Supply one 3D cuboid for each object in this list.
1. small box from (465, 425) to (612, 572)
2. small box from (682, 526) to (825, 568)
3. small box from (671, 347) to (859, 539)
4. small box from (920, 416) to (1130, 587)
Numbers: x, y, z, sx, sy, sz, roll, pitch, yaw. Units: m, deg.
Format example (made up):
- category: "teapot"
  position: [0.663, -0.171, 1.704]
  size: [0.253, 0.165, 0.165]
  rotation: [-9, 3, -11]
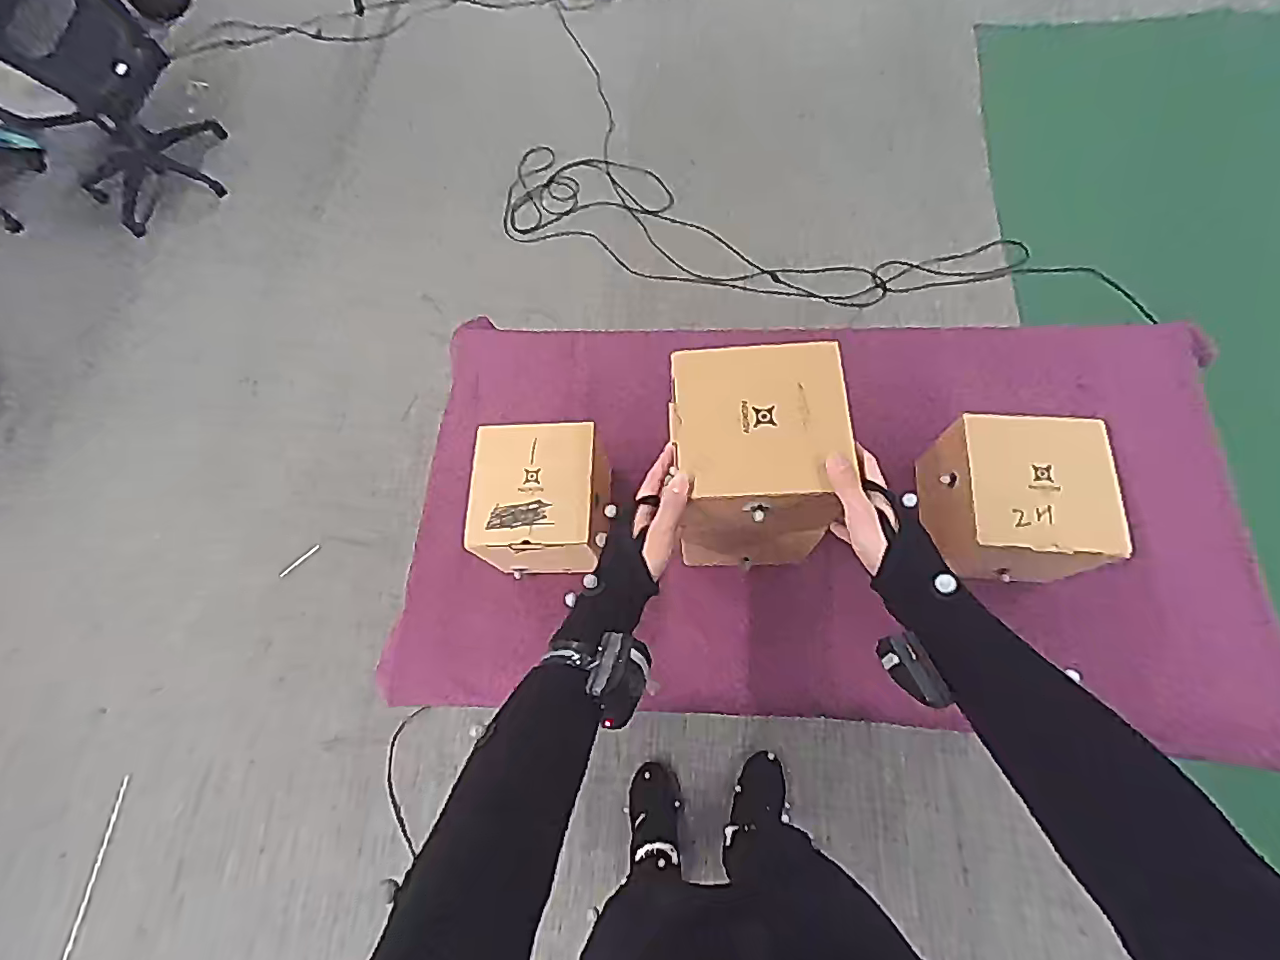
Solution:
- category: "small box"
  position: [-0.135, 0.035, 0.791]
  size: [0.168, 0.176, 0.179]
  rotation: [-1, 68, 6]
- category: "small box"
  position: [0.147, 0.027, 0.765]
  size: [0.179, 0.176, 0.168]
  rotation: [-1, 68, 6]
- category: "small box"
  position: [0.128, -0.031, 0.614]
  size: [0.179, 0.176, 0.168]
  rotation: [-2, 70, 5]
- category: "small box"
  position: [0.490, 0.034, 0.723]
  size: [0.168, 0.176, 0.179]
  rotation: [4, 70, 9]
